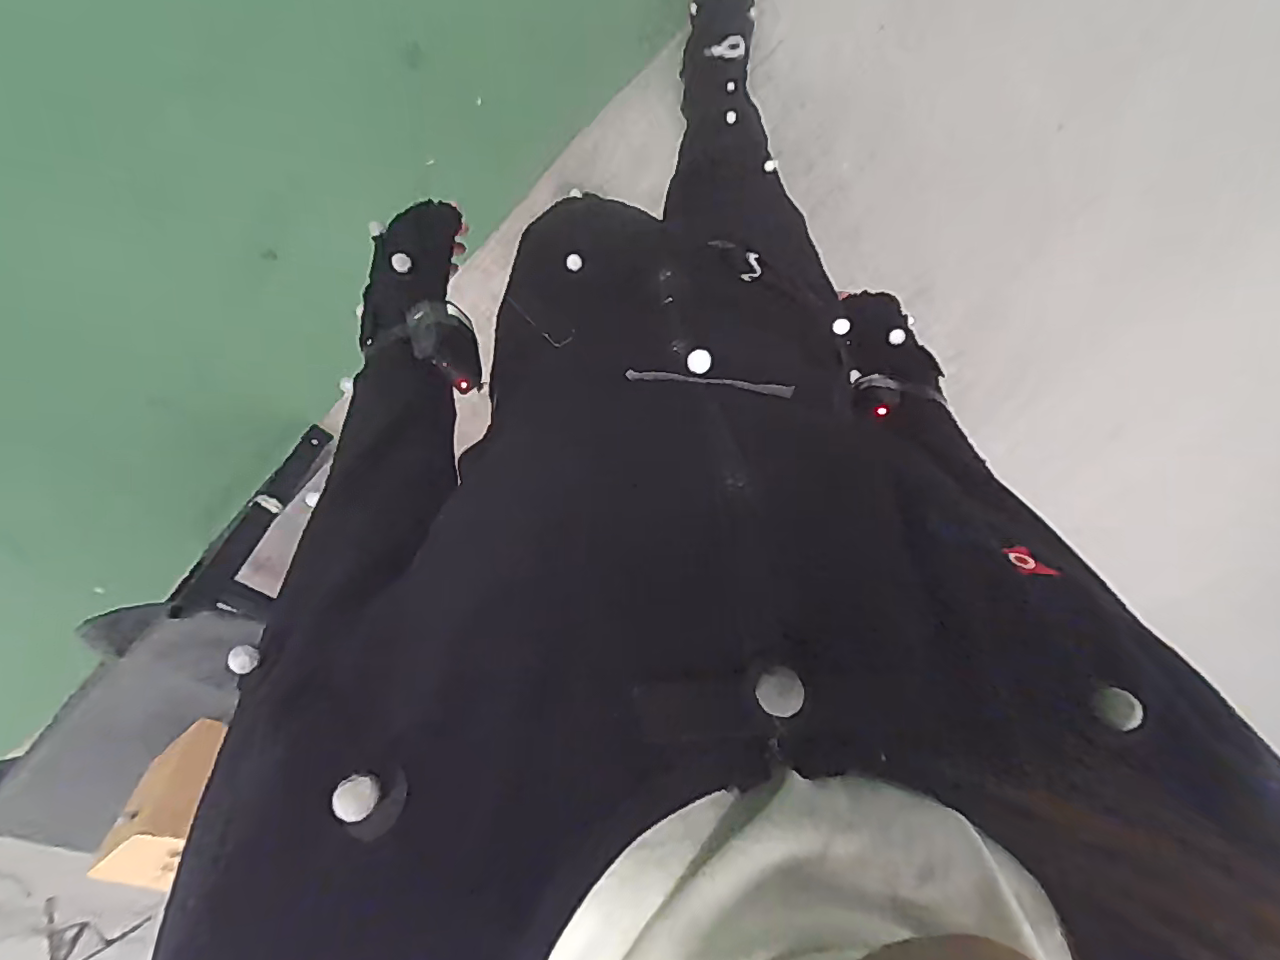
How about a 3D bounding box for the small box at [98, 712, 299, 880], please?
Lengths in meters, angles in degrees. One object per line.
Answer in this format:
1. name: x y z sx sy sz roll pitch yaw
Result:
1. small box: -0.686 0.503 0.867 0.179 0.176 0.168 -37 123 20
